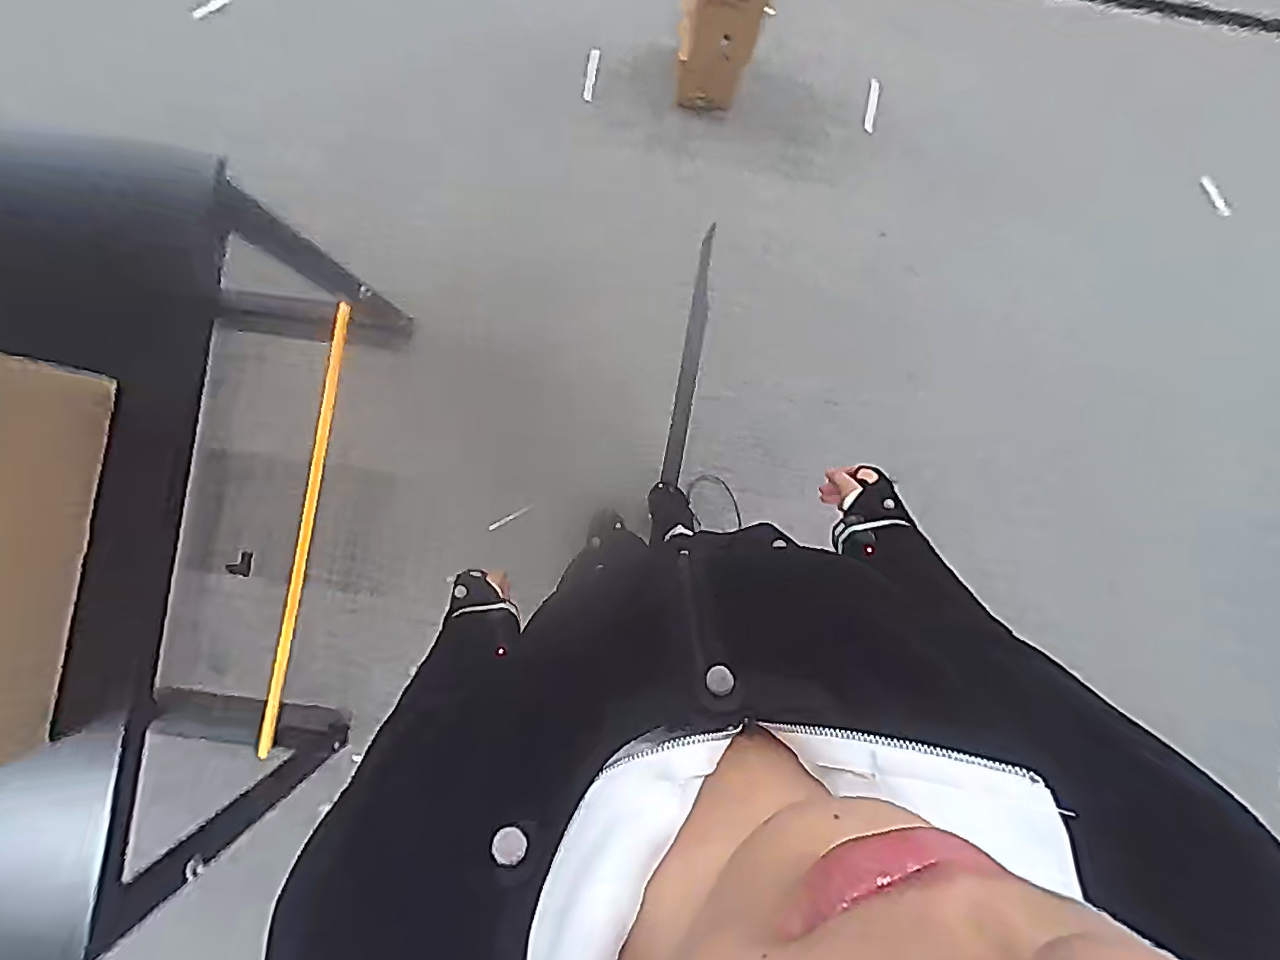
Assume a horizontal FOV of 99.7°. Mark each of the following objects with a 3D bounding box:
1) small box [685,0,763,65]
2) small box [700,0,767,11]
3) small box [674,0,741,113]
[{"bbox_3d":[0.199,-1.134,1.288,0.168,0.176,0.179,1,89,0],"label":"small box"},{"bbox_3d":[0.209,-1.141,1.123,0.168,0.176,0.179,6,89,1],"label":"small box"},{"bbox_3d":[0.179,-1.134,1.452,0.168,0.176,0.179,2,90,0],"label":"small box"}]
